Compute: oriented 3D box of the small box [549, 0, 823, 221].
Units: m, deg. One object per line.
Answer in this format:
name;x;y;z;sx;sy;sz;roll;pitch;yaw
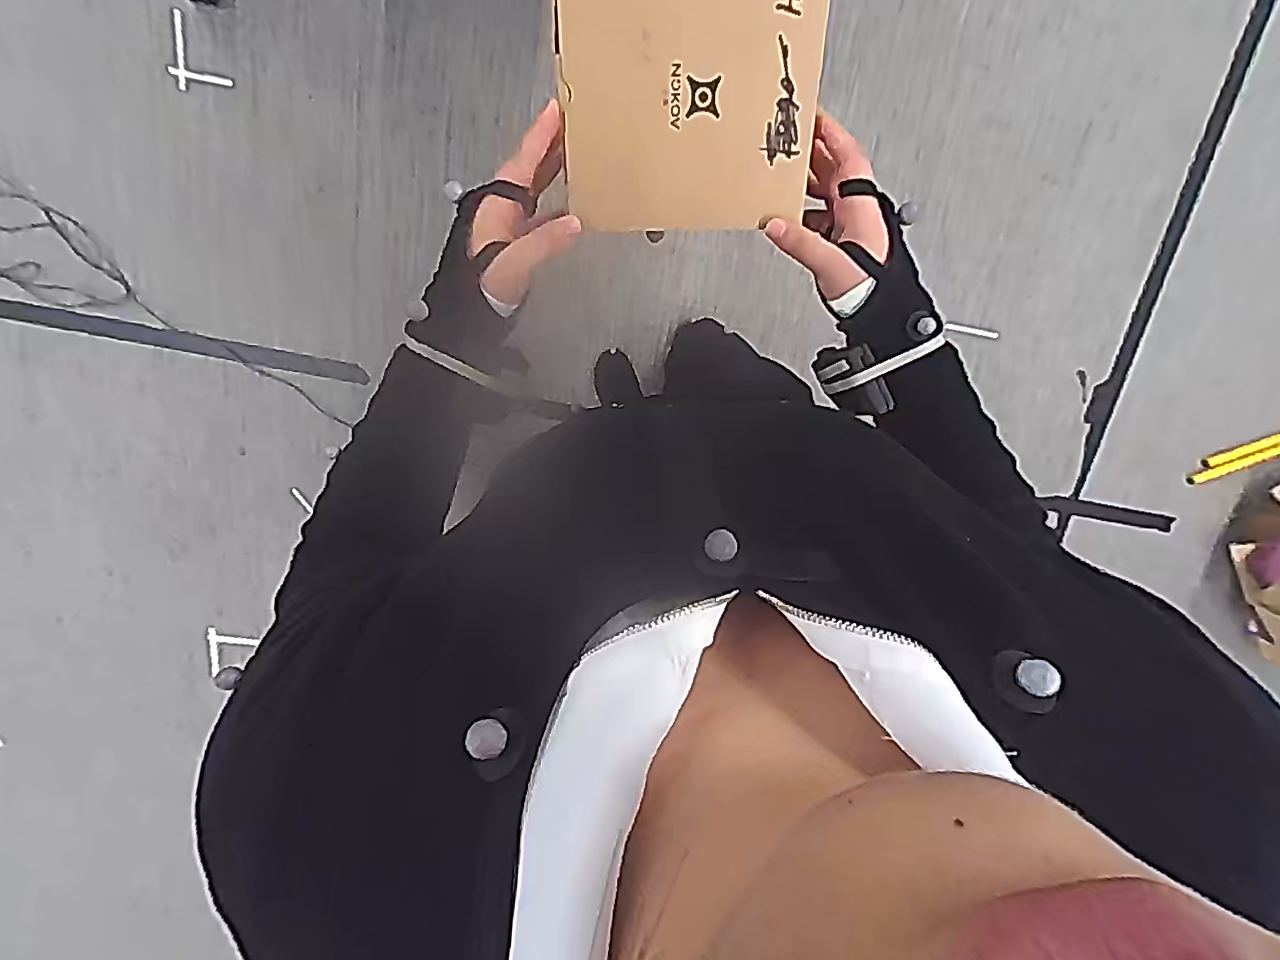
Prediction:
small box;0.026;-0.300;0.431;0.179;0.176;0.168;-2;118;-3
